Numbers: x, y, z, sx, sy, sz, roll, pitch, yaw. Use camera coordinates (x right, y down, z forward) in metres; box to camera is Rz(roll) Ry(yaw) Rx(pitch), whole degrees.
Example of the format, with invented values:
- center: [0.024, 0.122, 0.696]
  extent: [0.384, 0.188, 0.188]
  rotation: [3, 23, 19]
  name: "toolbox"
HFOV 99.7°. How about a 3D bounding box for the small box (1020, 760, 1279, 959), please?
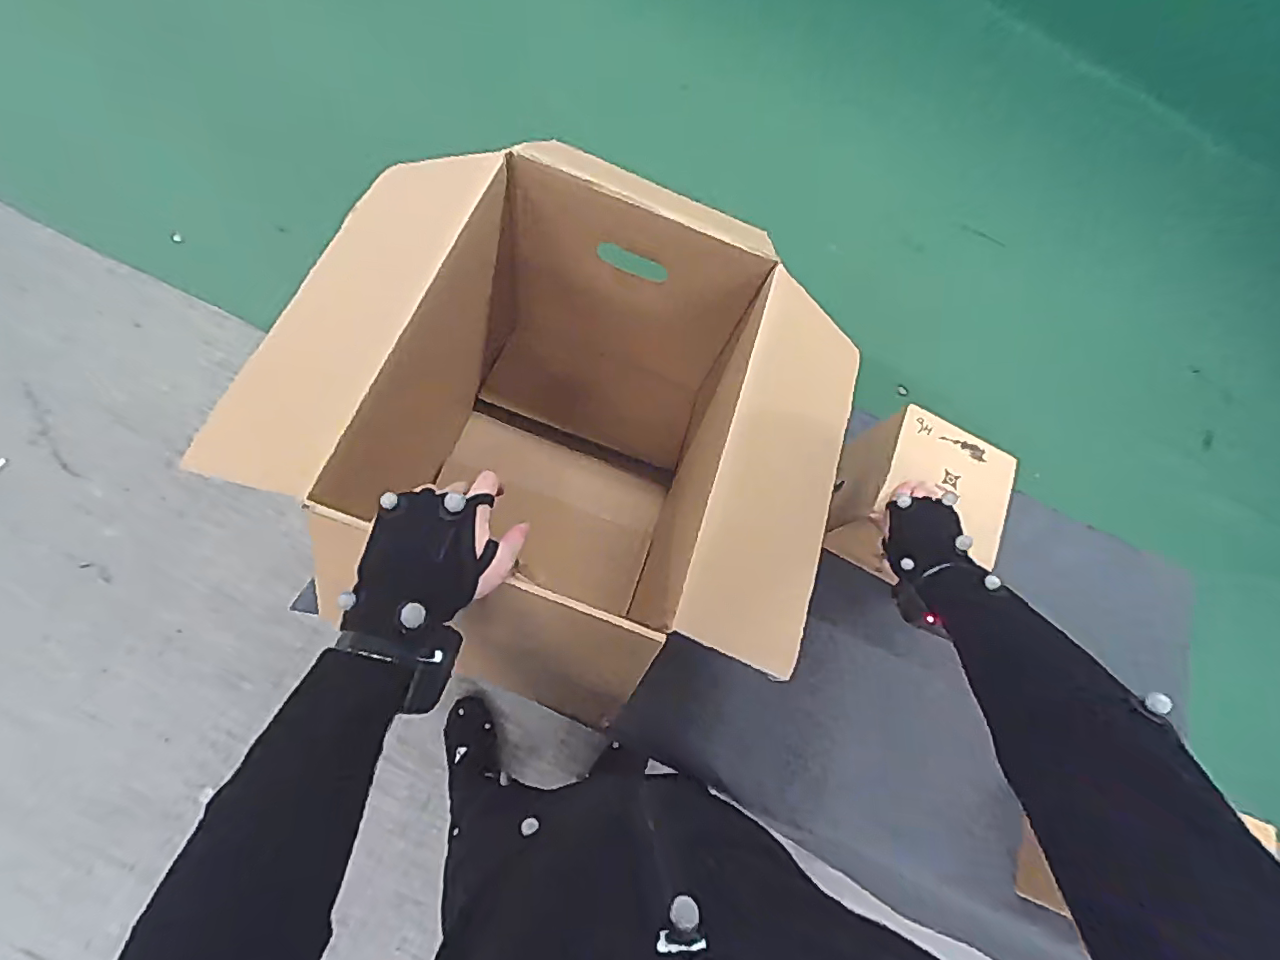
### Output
- center: [0.606, 0.470, 0.658]
  extent: [0.168, 0.176, 0.179]
  rotation: [24, 68, -1]
  name: "small box"
